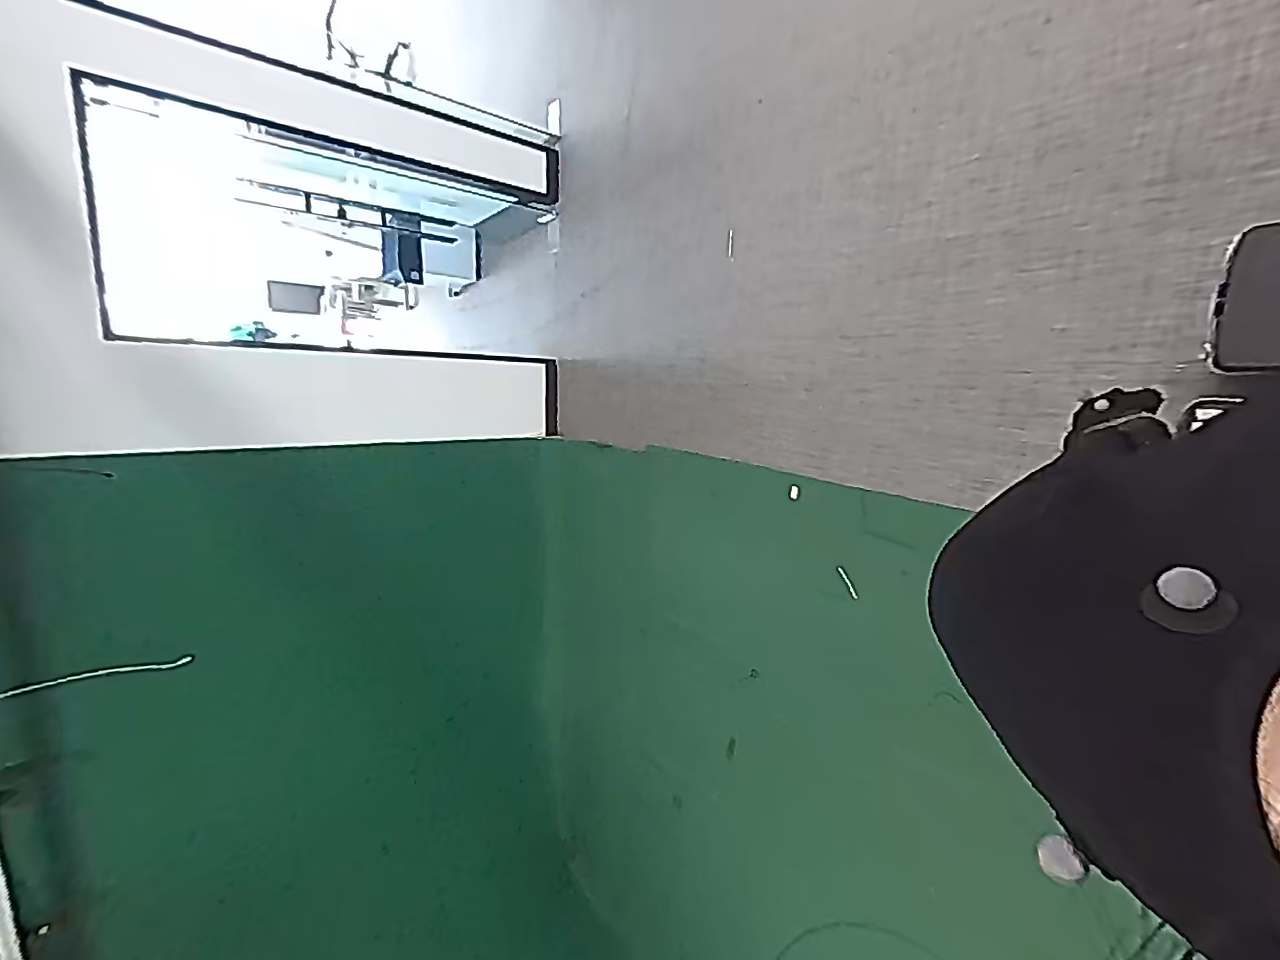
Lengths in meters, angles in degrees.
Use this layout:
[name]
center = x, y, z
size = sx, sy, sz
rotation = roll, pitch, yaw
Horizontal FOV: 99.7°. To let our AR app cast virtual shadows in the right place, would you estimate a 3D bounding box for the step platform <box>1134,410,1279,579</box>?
[step platform]
center = 1.170, 0.063, 0.757
size = 0.684, 0.204, 0.286
rotation = 15, 106, 50
